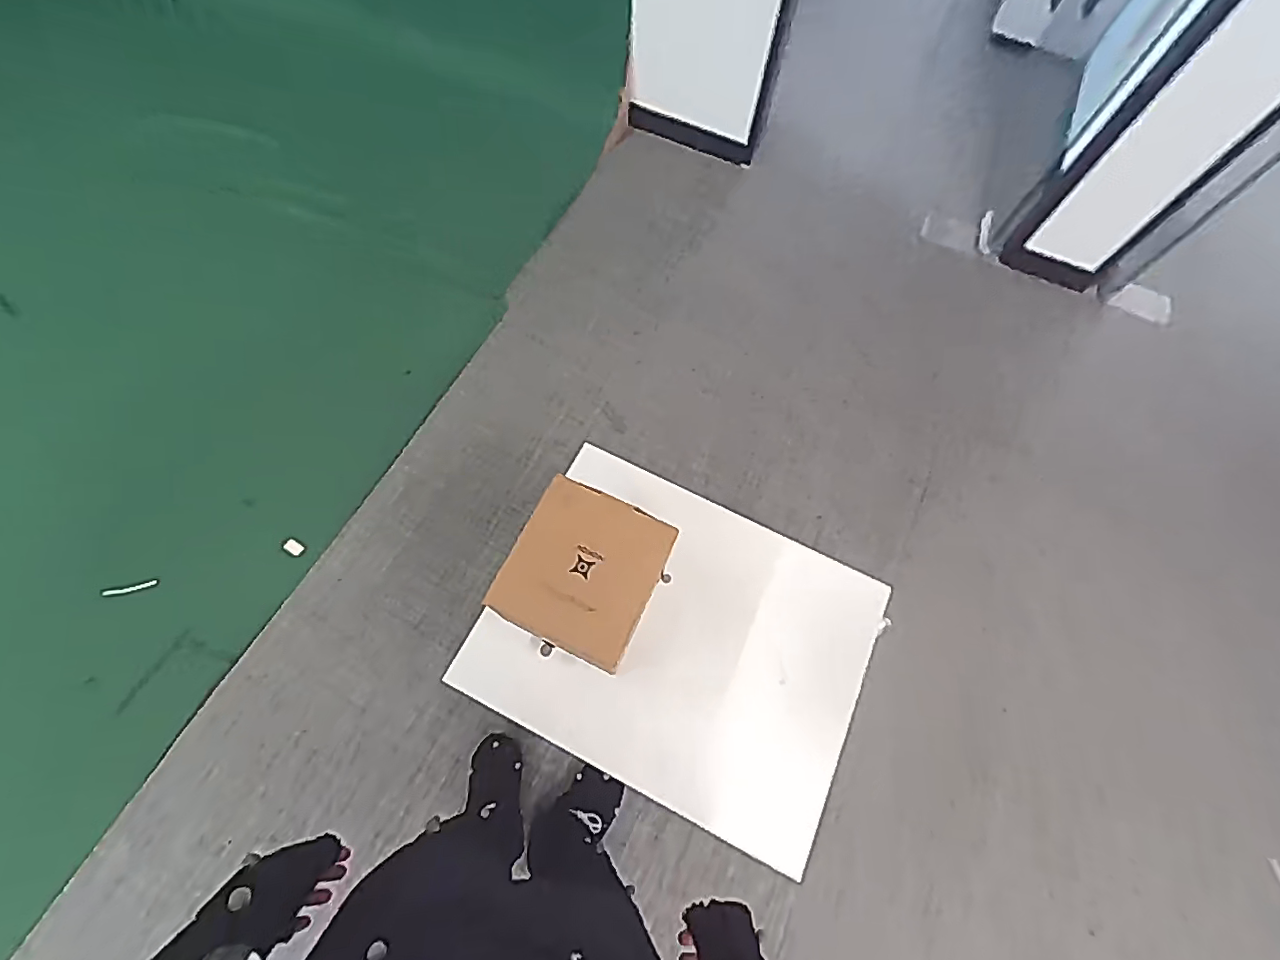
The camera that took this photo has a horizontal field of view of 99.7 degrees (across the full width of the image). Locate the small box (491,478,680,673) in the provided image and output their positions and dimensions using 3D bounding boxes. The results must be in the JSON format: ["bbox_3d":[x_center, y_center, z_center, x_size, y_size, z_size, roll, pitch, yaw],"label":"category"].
[{"bbox_3d":[-0.063,0.130,0.694,0.168,0.176,0.179,22,70,8],"label":"small box"}]
